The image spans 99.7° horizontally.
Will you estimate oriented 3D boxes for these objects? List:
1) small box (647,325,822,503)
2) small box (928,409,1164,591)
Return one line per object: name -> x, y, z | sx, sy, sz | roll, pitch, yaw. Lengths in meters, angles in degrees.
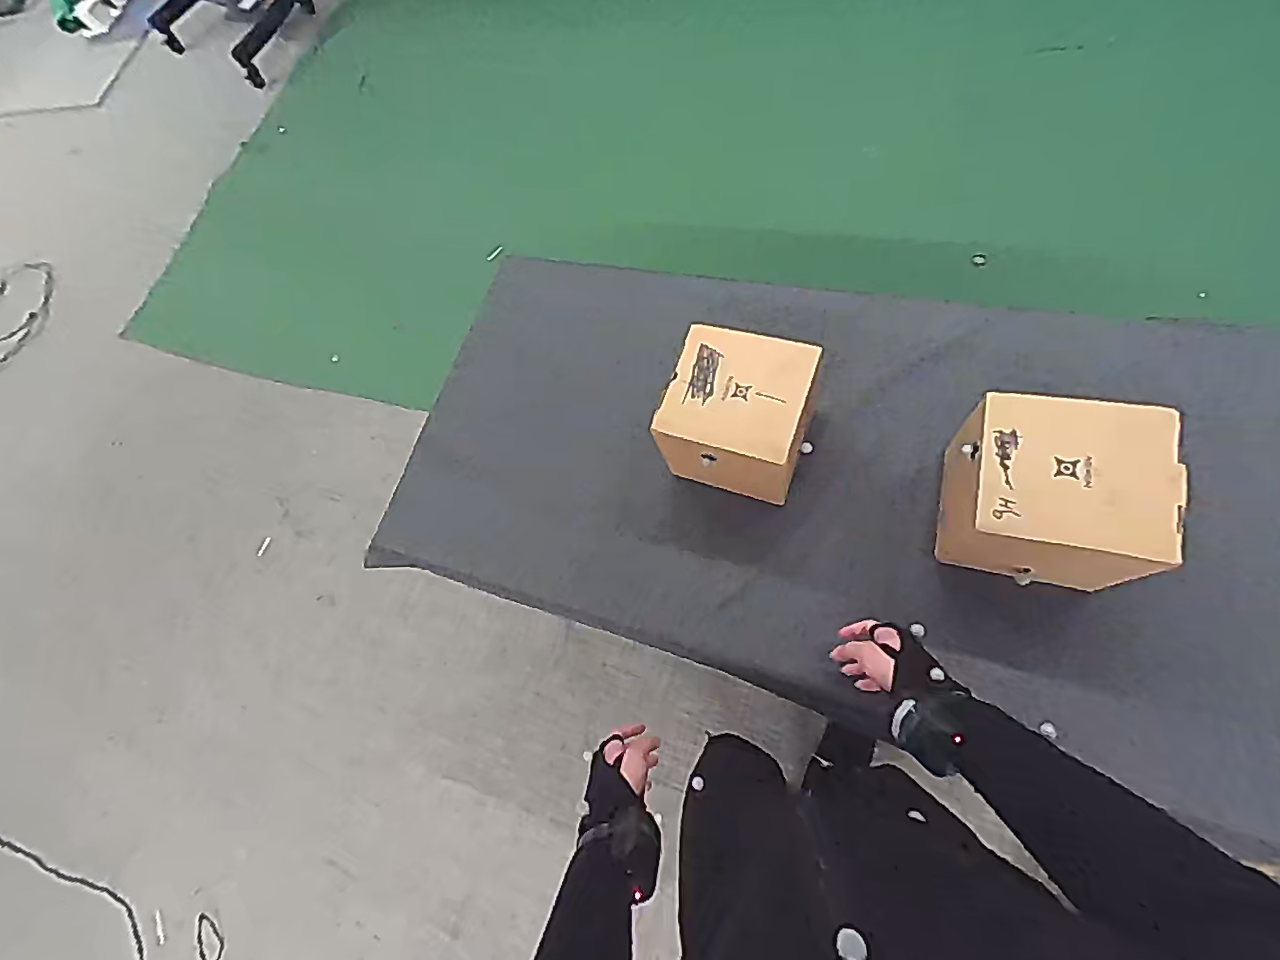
small box -> 0.136, -0.084, 0.751 | 0.179, 0.176, 0.168 | 20, 78, 20
small box -> 0.467, 0.032, 0.647 | 0.179, 0.176, 0.168 | 8, 74, 17
